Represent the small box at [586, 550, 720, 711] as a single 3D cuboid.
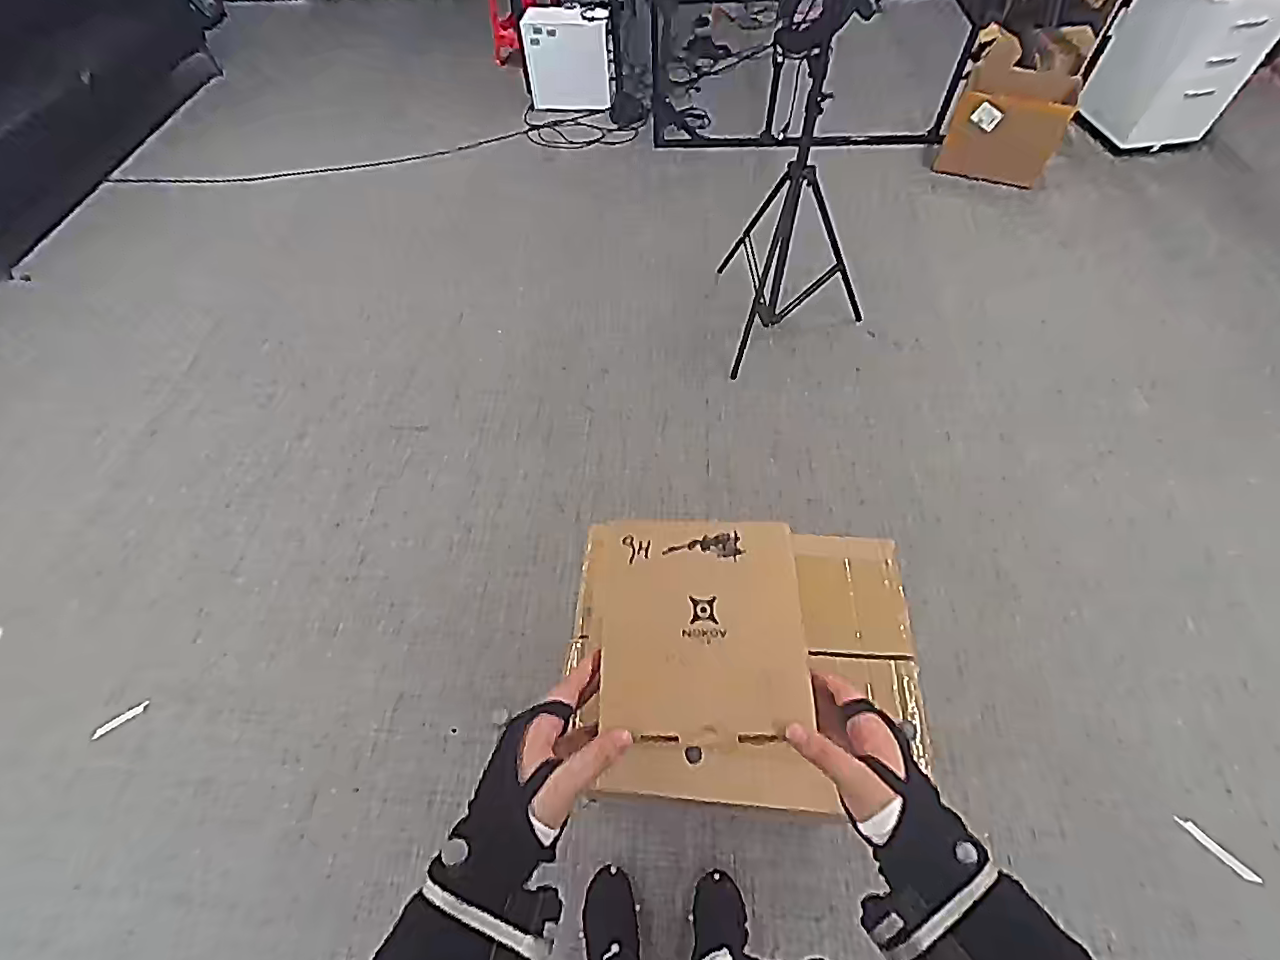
[{"bbox_3d":[0.022,0.214,0.759,0.168,0.176,0.179,1,59,3],"label":"small box"}]
